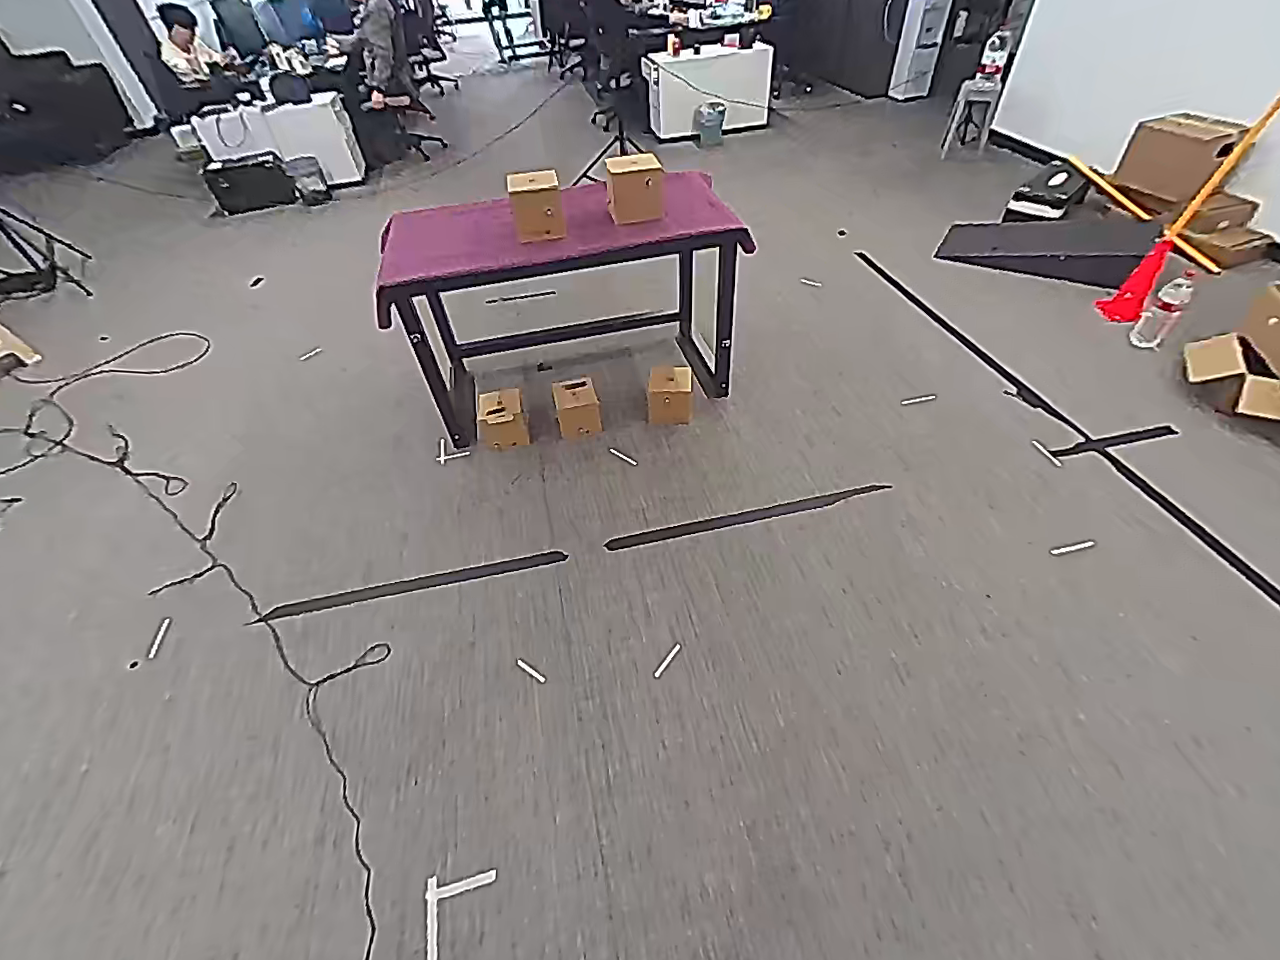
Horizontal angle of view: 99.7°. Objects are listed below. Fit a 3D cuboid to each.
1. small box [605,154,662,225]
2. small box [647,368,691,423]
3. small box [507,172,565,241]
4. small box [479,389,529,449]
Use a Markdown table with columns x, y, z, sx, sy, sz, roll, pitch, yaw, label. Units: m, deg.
| x | y | z | sx | sy | sz | roll | pitch | yaw | label |
| --- | --- | --- | --- | --- | --- | --- | --- | --- | --- |
| -0.022 | -1.018 | 1.899 | 0.179 | 0.176 | 0.168 | -11 | 46 | -5 | small box |
| 0.125 | -0.352 | 2.266 | 0.179 | 0.176 | 0.168 | 0 | 47 | 6 | small box |
| -0.354 | -0.927 | 1.844 | 0.168 | 0.176 | 0.179 | -10 | 45 | -6 | small box |
| -0.556 | -0.244 | 2.220 | 0.168 | 0.176 | 0.179 | -11 | 46 | -6 | small box |
